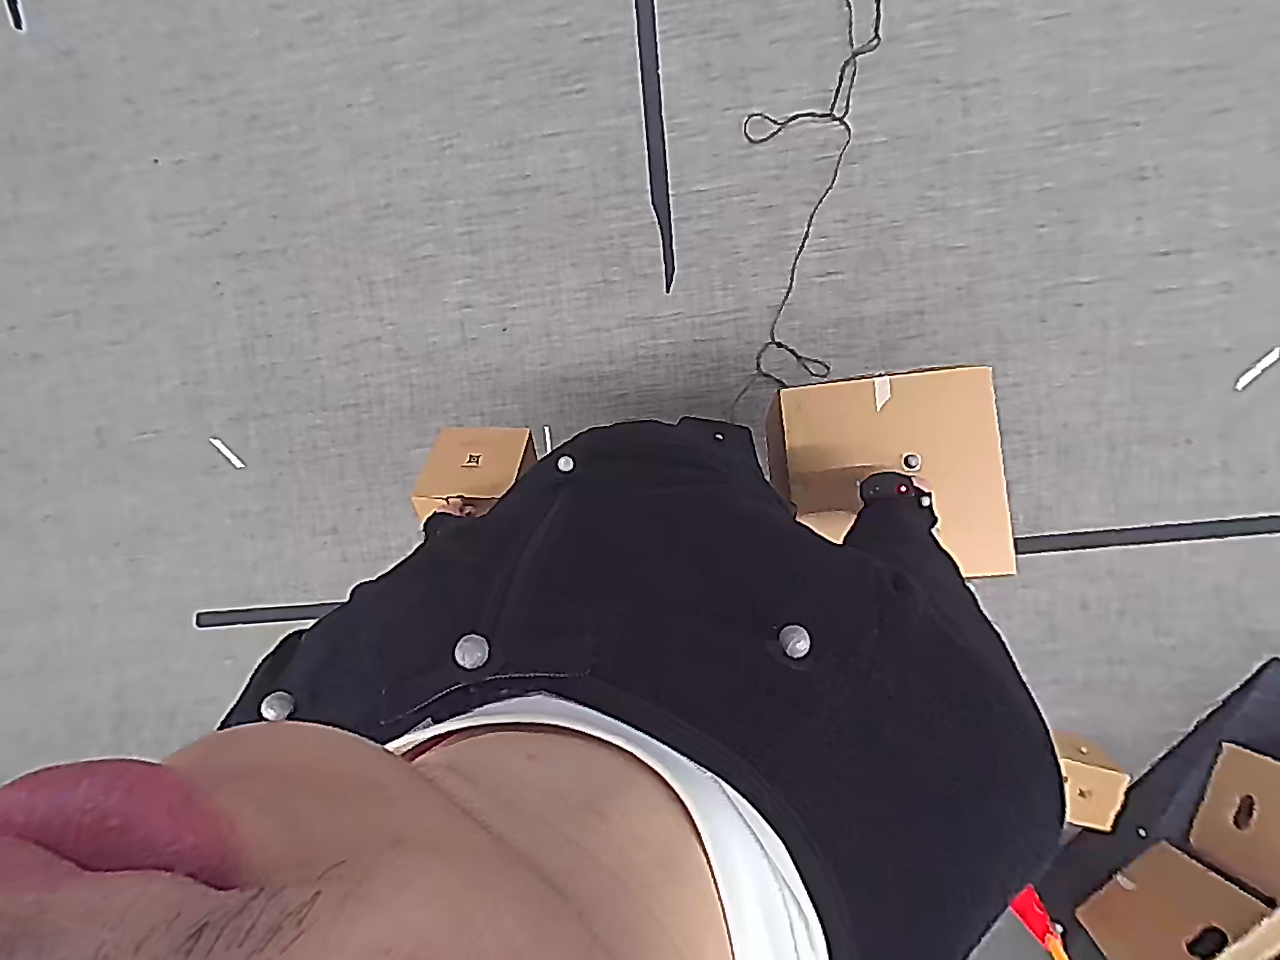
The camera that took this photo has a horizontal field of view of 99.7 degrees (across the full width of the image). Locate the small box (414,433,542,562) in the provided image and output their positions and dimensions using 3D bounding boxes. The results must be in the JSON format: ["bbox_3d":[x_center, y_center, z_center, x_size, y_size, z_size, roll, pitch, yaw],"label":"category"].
[{"bbox_3d":[-0.281,0.033,0.985,0.168,0.179,0.176,1,135,3],"label":"small box"}]
